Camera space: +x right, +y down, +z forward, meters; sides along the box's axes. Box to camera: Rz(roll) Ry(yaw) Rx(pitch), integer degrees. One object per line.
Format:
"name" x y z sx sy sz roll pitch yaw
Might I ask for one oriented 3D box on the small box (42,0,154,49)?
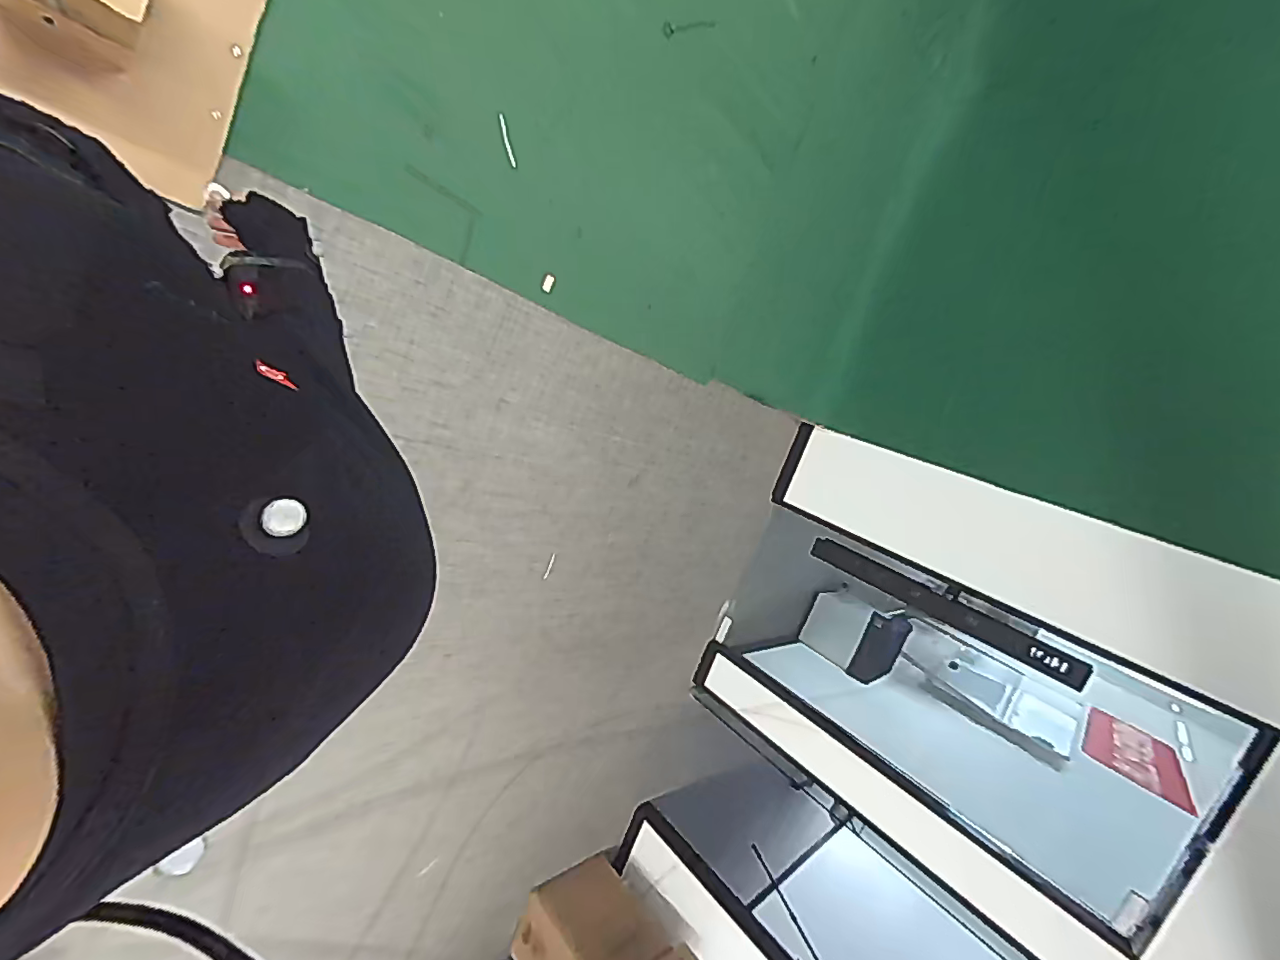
"small box" -0.741 -0.721 0.710 0.168 0.176 0.179 16 99 -48

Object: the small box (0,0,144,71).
"small box" -0.857 -0.770 0.819 0.168 0.176 0.179 12 102 -48
